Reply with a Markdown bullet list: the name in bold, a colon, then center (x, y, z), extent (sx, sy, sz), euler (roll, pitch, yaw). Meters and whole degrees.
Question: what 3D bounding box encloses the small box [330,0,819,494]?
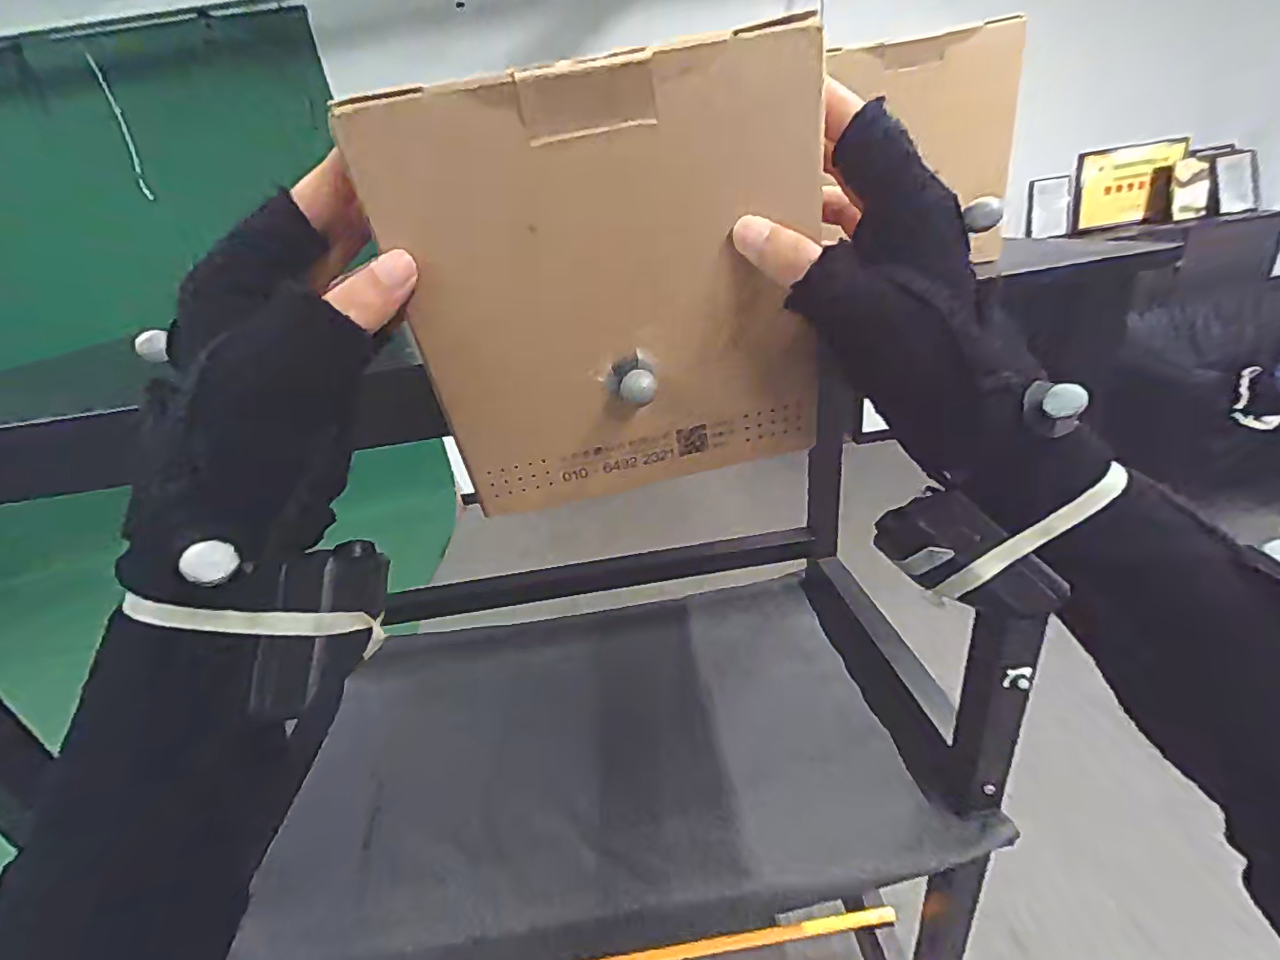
- **small box**: center (-0.019, -0.116, 0.288), extent (0.168, 0.176, 0.179), euler (-13, 32, -2)
